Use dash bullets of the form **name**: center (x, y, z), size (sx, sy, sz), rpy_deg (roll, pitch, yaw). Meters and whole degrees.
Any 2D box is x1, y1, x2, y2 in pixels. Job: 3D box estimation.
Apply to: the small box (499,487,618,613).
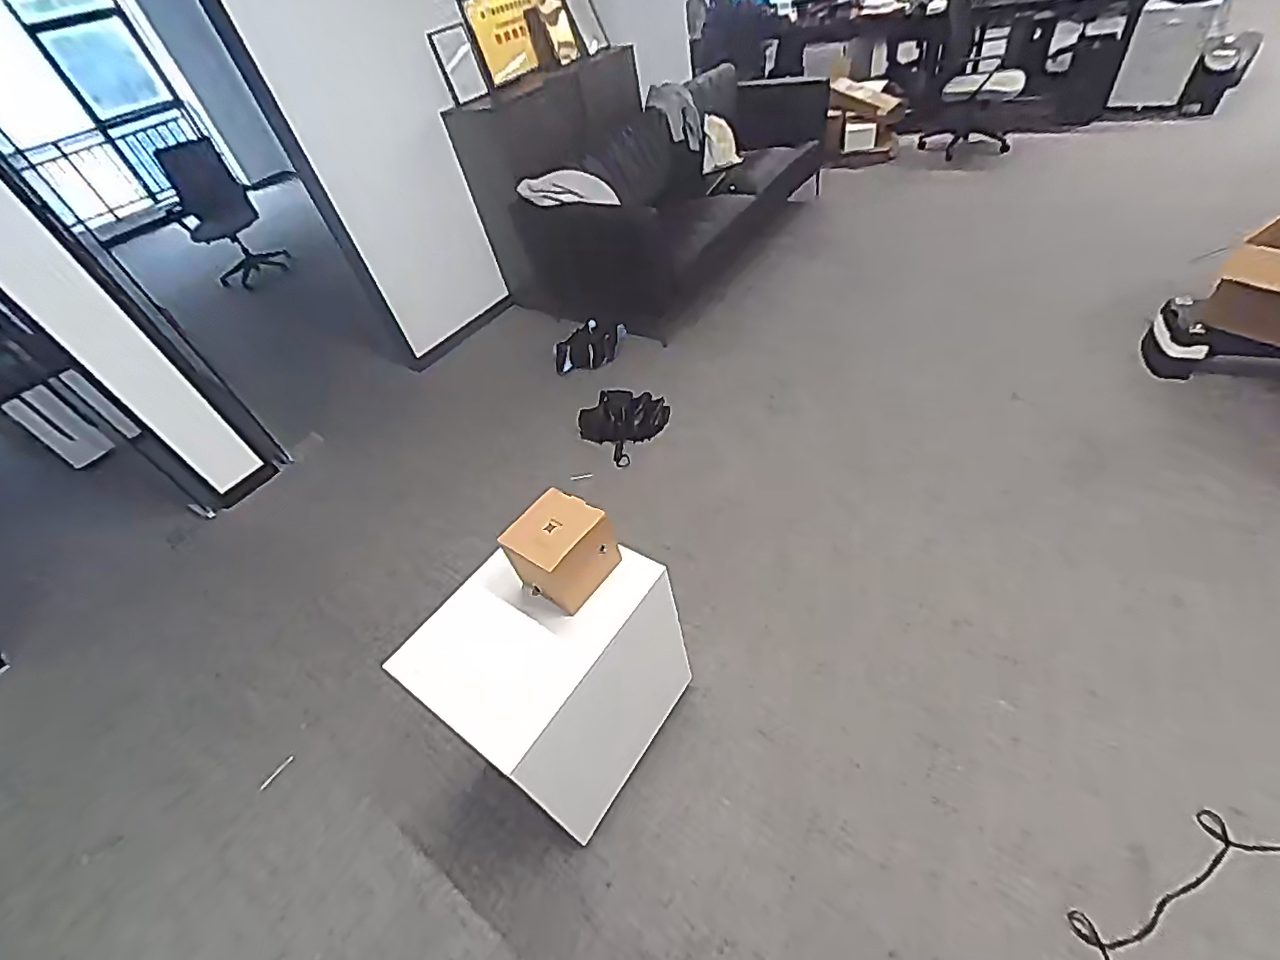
- **small box**: center (-0.165, 0.152, 1.172), size (0.168, 0.176, 0.179), rpy_deg (22, 56, 33)
